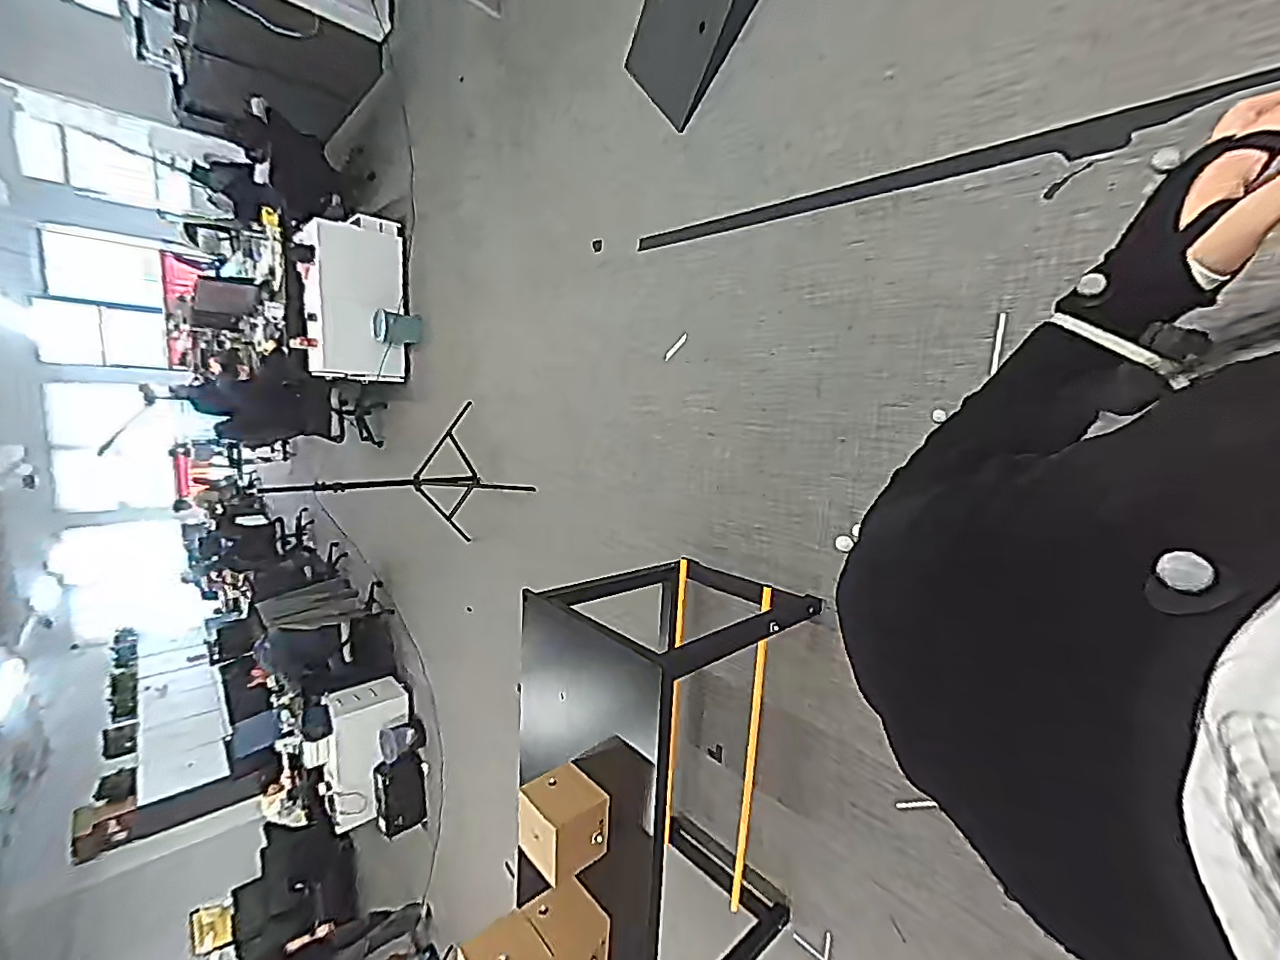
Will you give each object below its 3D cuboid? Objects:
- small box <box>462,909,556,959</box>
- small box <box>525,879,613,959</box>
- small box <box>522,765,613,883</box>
[{"bbox_3d":[-0.320,1.219,1.327,0.179,0.176,0.168,10,101,47],"label":"small box"},{"bbox_3d":[-0.192,1.208,1.429,0.179,0.176,0.168,14,105,46],"label":"small box"},{"bbox_3d":[-0.189,0.872,1.396,0.179,0.176,0.168,11,103,46],"label":"small box"}]
